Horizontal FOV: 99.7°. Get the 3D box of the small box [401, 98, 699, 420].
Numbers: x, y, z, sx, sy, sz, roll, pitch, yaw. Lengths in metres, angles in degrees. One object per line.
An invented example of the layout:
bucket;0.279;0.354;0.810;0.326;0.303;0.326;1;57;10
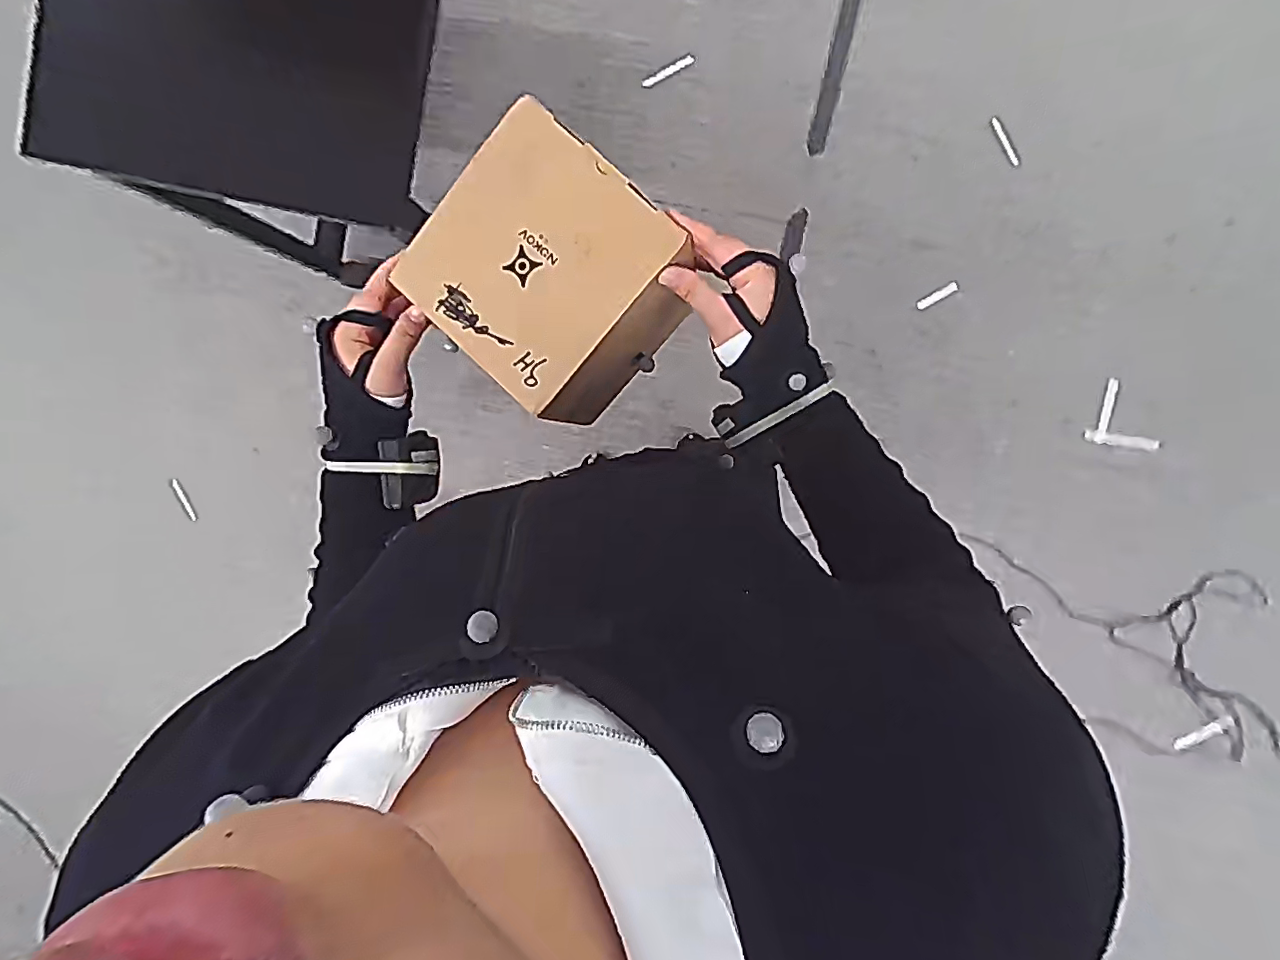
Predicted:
small box;-0.063;-0.173;0.486;0.168;0.176;0.179;44;98;5
